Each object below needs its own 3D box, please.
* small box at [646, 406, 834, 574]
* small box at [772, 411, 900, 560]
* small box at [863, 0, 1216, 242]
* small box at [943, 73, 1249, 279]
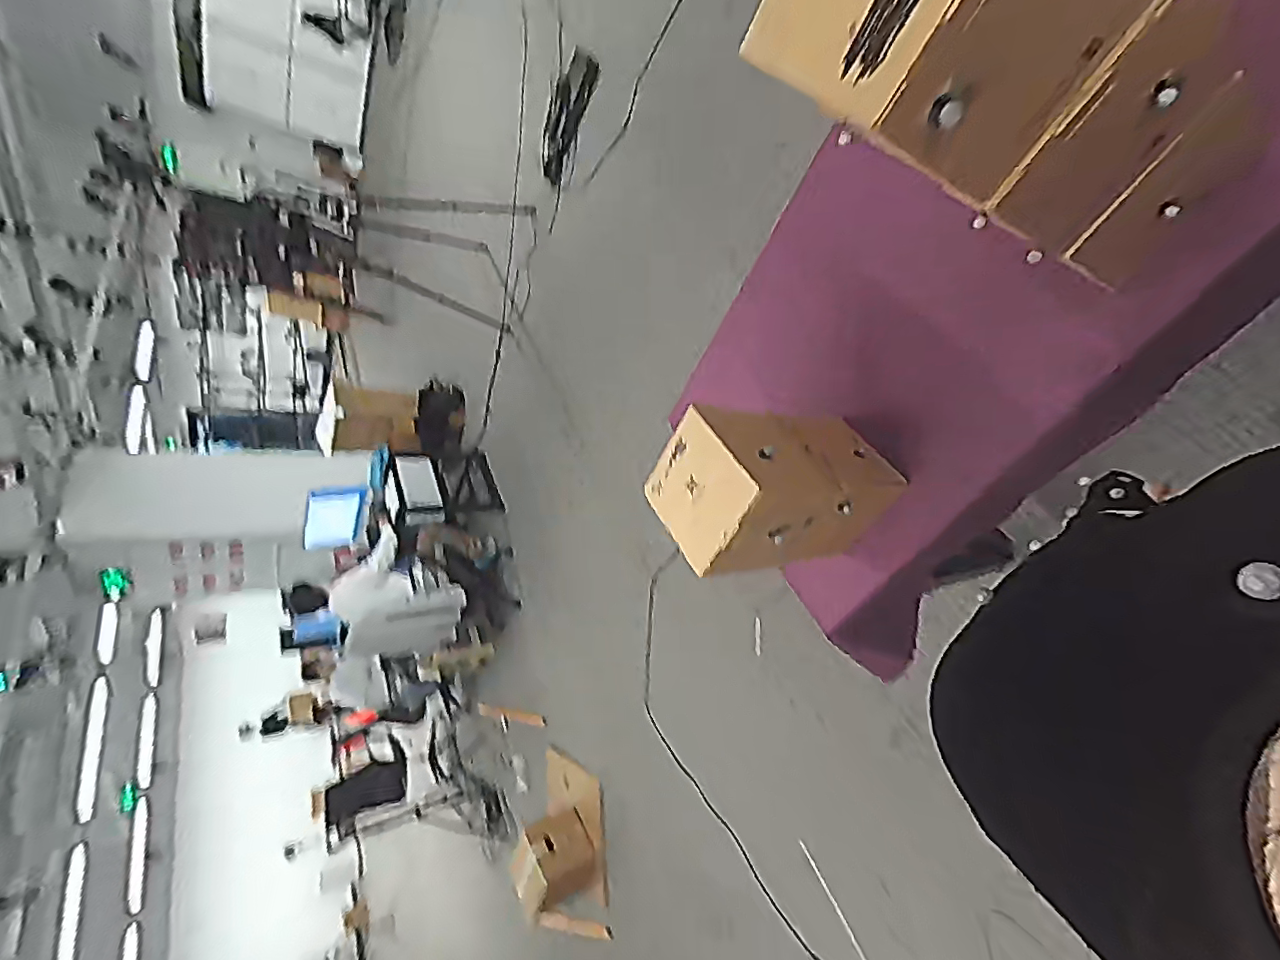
[{"bbox_3d":[0.143,0.011,0.790,0.179,0.176,0.168,57,131,36],"label":"small box"},{"bbox_3d":[0.279,0.011,0.882,0.168,0.176,0.179,58,132,37],"label":"small box"},{"bbox_3d":[0.356,-0.344,0.496,0.168,0.176,0.179,-57,47,37],"label":"small box"},{"bbox_3d":[0.490,-0.341,0.590,0.168,0.176,0.179,-58,46,35],"label":"small box"}]
